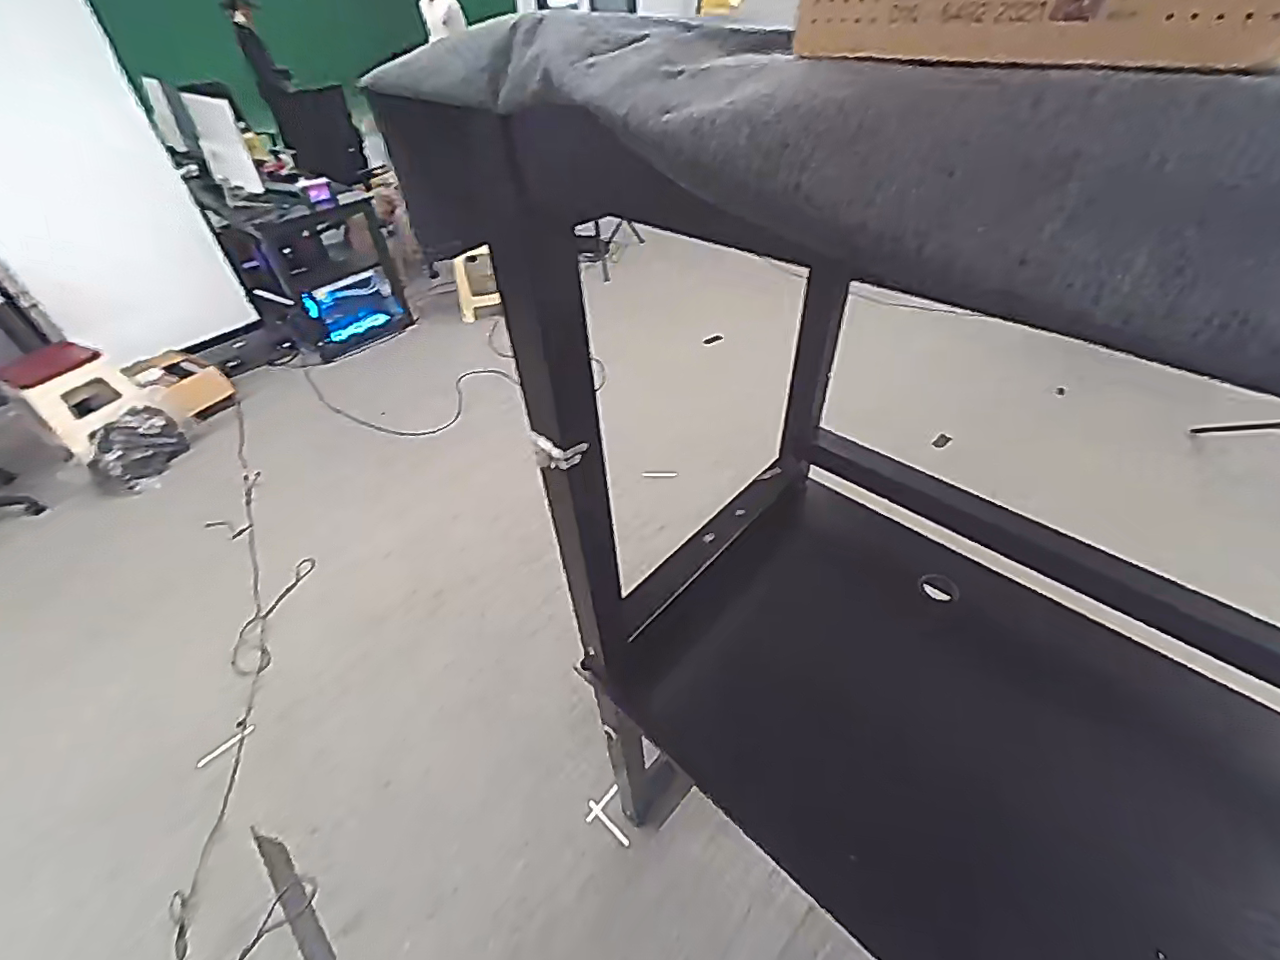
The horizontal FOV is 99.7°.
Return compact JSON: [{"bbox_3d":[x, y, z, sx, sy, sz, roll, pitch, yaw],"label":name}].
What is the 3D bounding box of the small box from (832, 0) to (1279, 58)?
[{"bbox_3d":[0.186,-0.264,0.192,0.168,0.176,0.179,29,51,28],"label":"small box"}]
